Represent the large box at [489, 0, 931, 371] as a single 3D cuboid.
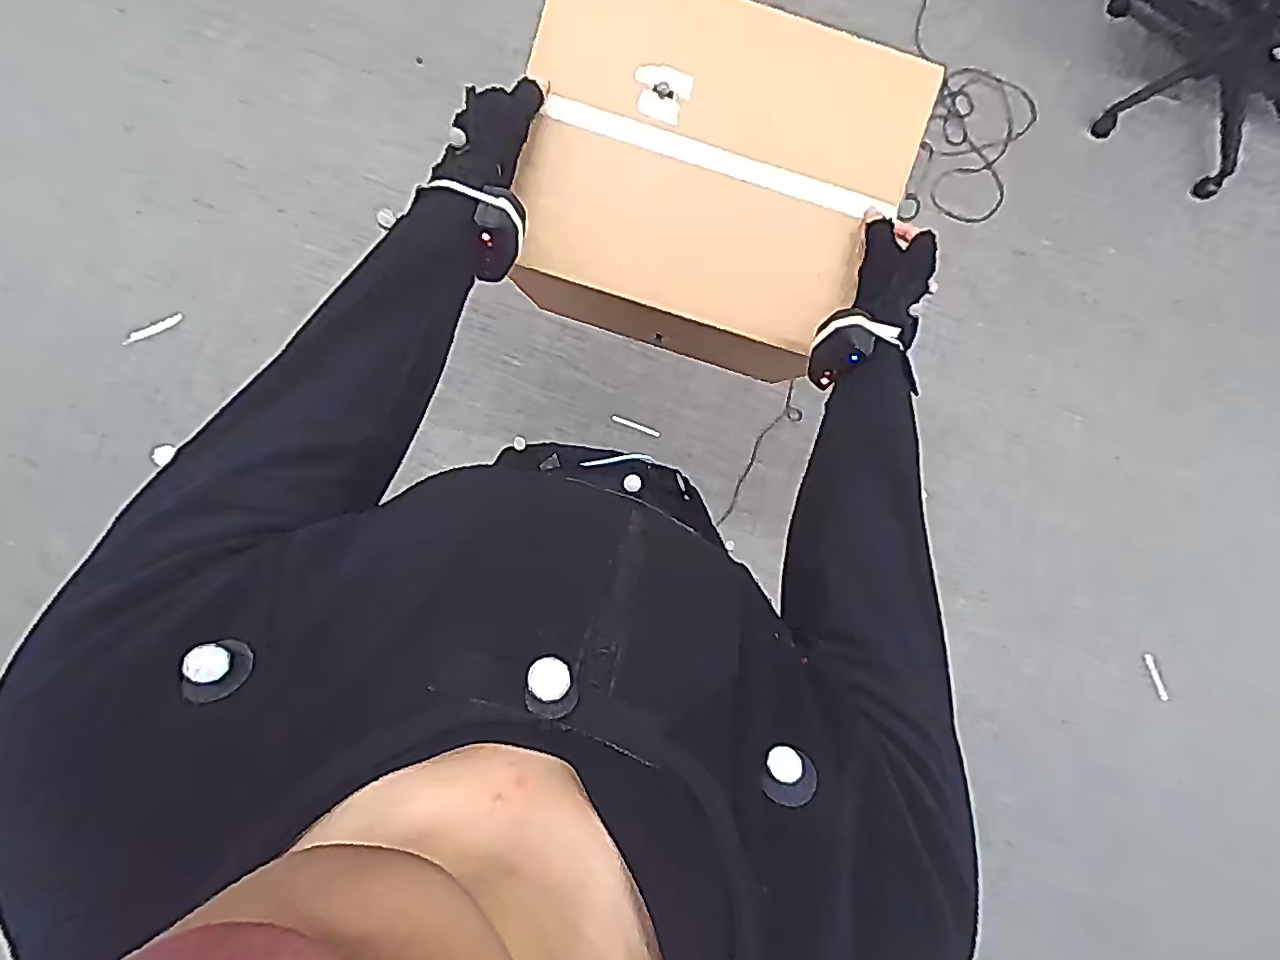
[{"bbox_3d":[0.072,-0.353,0.714,0.408,0.320,0.320,17,96,-2],"label":"large box"}]
